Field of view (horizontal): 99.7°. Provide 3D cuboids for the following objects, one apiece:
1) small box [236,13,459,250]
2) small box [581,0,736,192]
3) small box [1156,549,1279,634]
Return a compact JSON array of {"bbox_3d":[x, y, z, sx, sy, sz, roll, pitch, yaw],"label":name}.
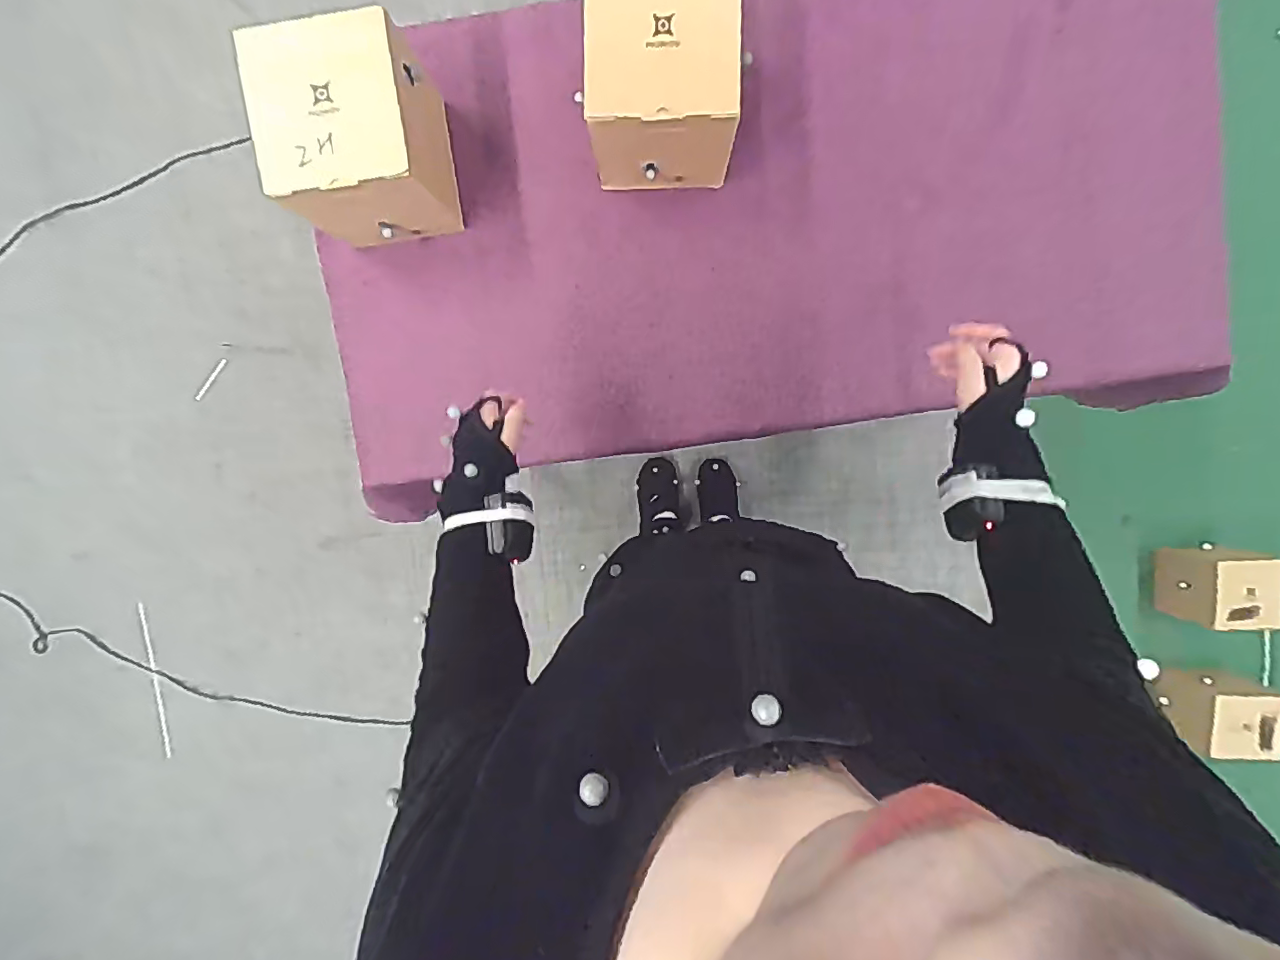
[{"bbox_3d":[-0.341,-0.408,0.663,0.168,0.176,0.179,-8,95,3],"label":"small box"},{"bbox_3d":[0.021,-0.473,0.648,0.168,0.176,0.179,0,96,2],"label":"small box"},{"bbox_3d":[1.480,0.281,1.386,0.168,0.176,0.179,-2,94,2],"label":"small box"}]
